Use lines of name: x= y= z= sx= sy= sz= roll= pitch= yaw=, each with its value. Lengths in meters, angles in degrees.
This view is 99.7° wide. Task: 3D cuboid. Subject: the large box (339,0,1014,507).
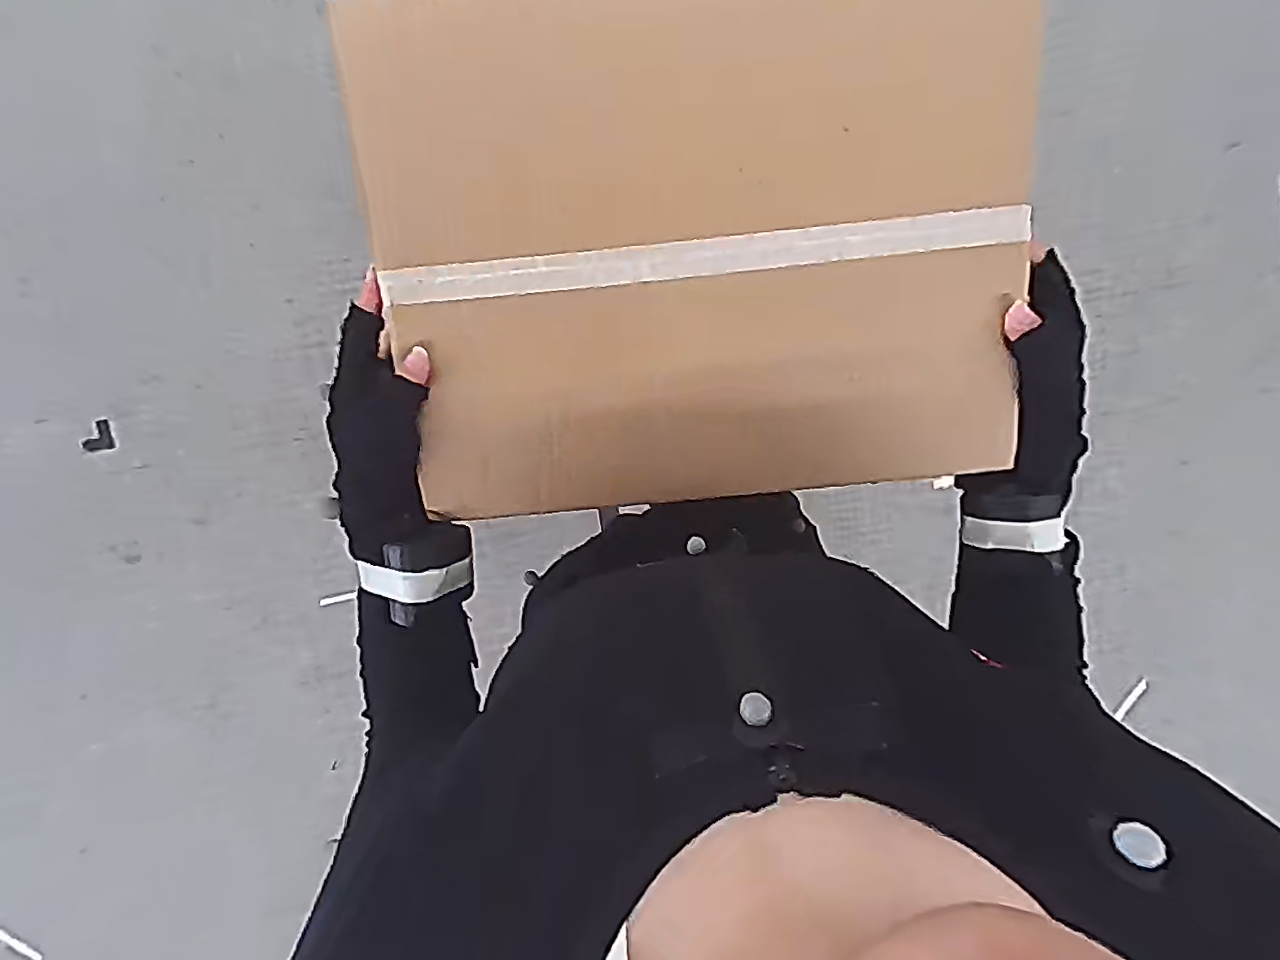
large box: x=0.034 y=-0.185 z=0.493 sx=0.408 sy=0.320 sz=0.320 roll=-6 pitch=103 yaw=0
